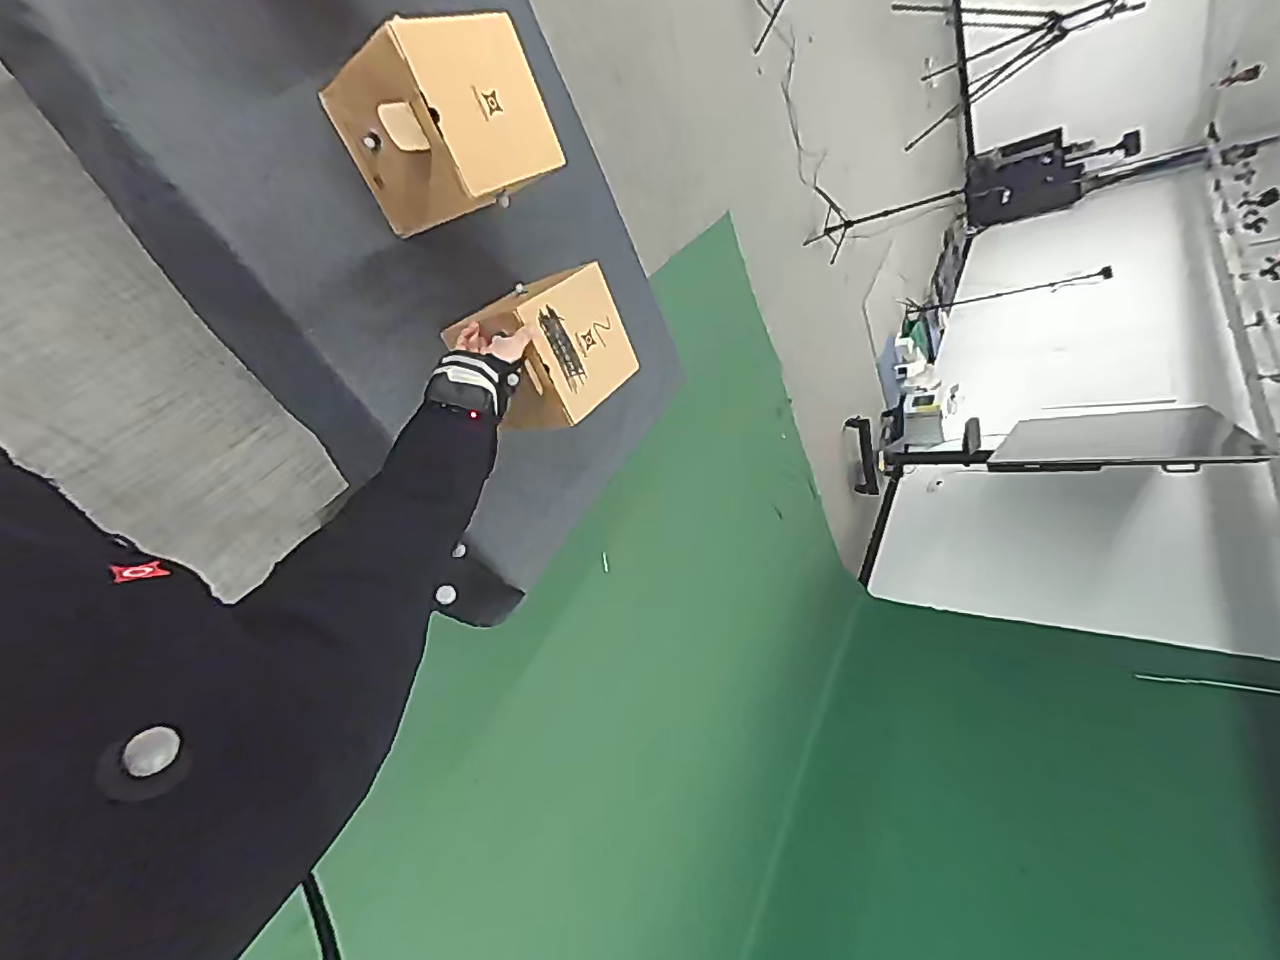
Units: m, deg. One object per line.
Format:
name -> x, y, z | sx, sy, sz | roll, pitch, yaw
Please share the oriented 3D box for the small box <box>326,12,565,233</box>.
small box -> -0.229, -0.423, 0.652 | 0.179, 0.176, 0.168 | -49, 127, -38
